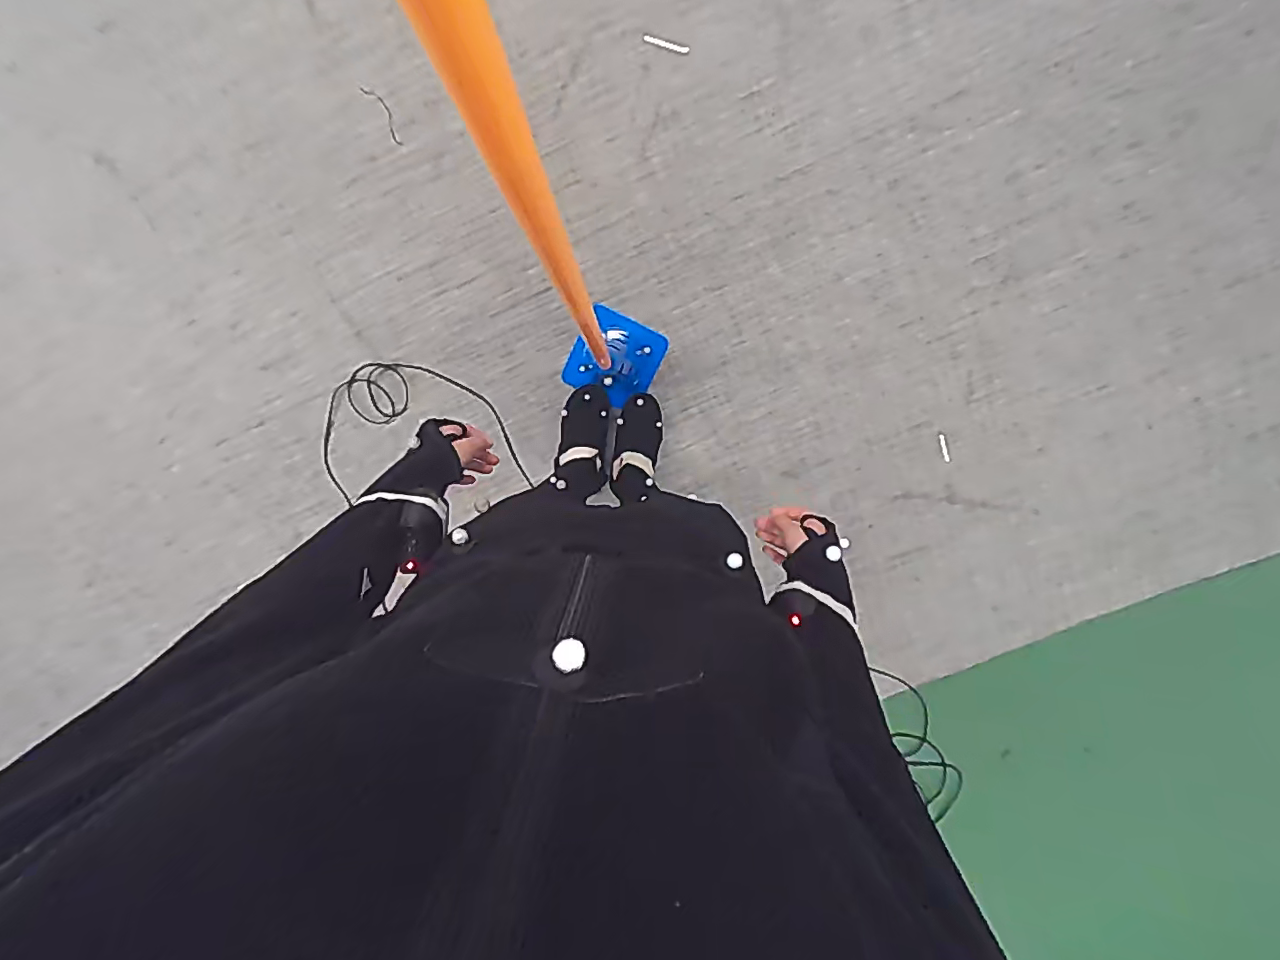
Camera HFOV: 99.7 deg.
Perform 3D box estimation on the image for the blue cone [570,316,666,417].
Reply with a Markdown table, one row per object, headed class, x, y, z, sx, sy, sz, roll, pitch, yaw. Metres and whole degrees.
| class | x | y | z | sx | sy | sz | roll | pitch | yaw |
| --- | --- | --- | --- | --- | --- | --- | --- | --- | --- |
| blue cone | -0.051 | -0.225 | 1.076 | 0.192 | 0.380 | 0.193 | 25 | 101 | -6 |
